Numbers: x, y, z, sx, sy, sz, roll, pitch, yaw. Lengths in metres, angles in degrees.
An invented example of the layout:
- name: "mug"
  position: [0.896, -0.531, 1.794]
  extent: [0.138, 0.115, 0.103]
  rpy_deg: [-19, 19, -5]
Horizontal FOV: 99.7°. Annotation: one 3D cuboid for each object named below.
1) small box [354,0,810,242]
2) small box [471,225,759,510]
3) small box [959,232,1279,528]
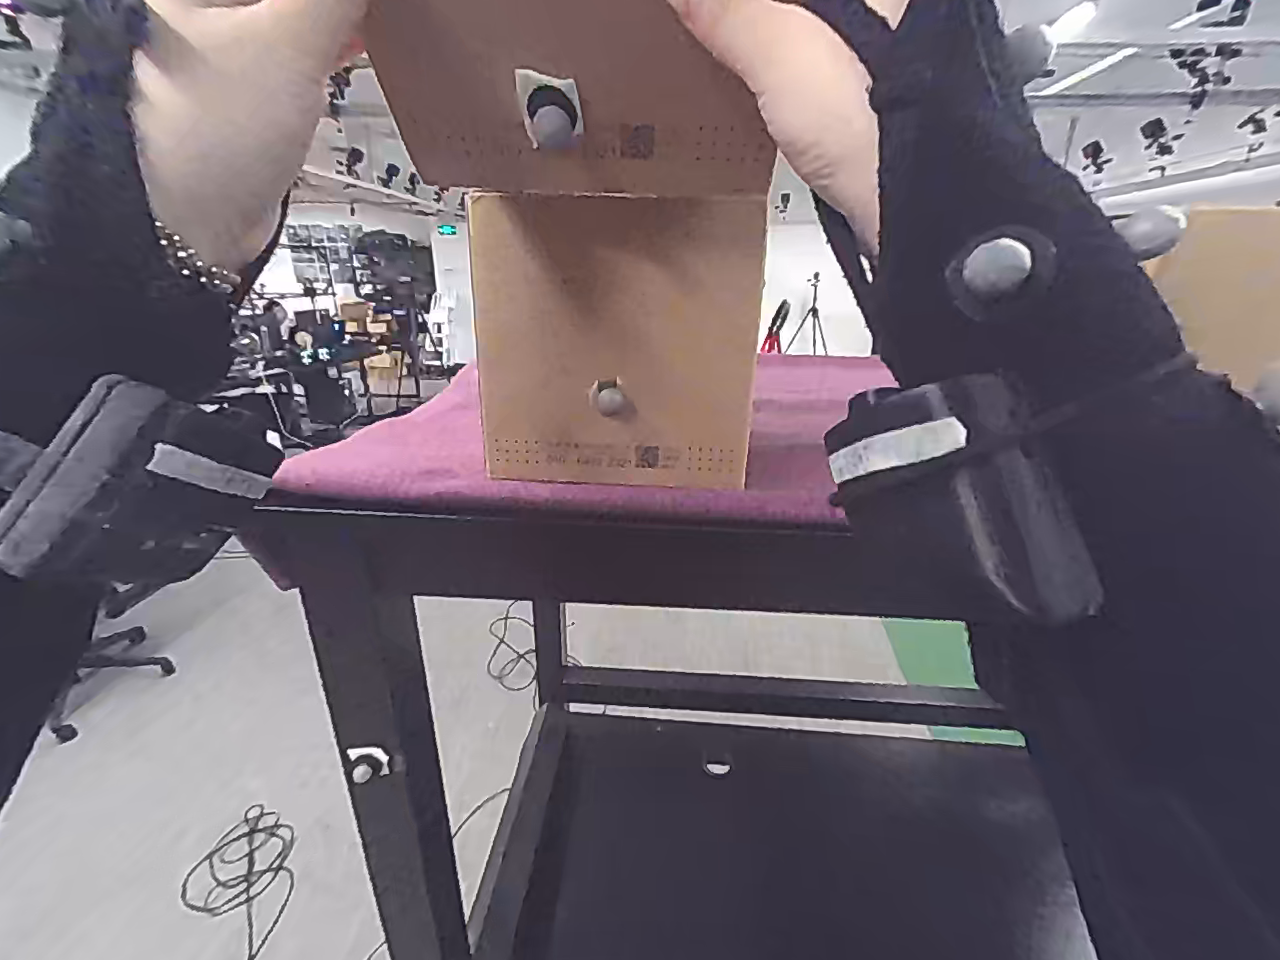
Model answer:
- name: "small box"
  position: [-0.020, -0.231, 0.227]
  extent: [0.168, 0.176, 0.179]
  rpy_deg: [2, 64, 3]
- name: "small box"
  position: [-0.011, -0.089, 0.400]
  extent: [0.168, 0.176, 0.179]
  rpy_deg: [2, 20, 4]
- name: "small box"
  position: [0.362, -0.080, 0.389]
  extent: [0.168, 0.176, 0.179]
  rpy_deg: [2, 22, 5]
